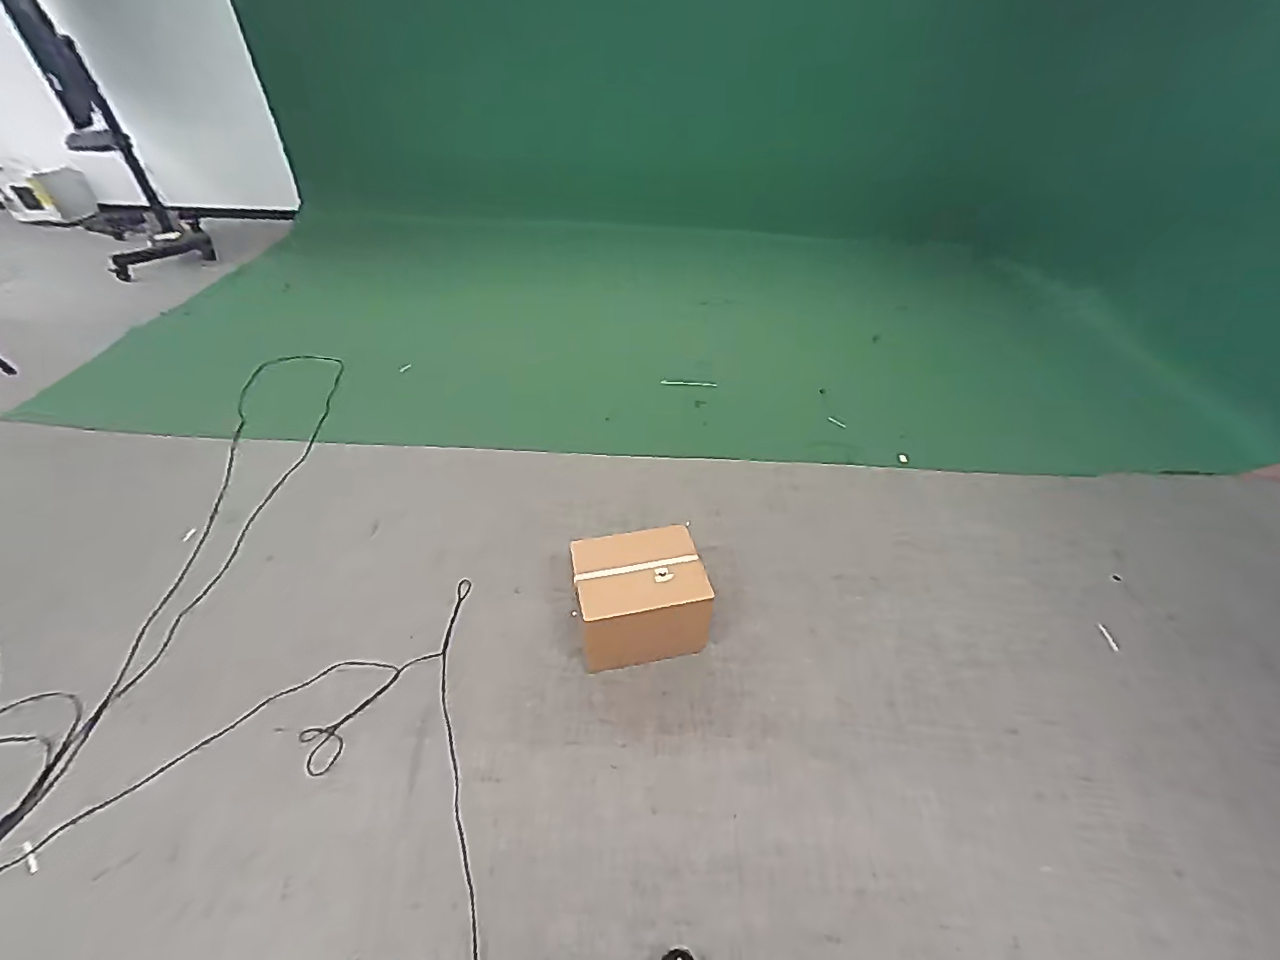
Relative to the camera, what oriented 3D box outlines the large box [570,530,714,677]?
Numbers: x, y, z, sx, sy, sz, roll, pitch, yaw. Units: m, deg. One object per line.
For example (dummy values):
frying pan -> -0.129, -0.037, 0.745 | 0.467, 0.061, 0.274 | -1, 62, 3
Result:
large box -> -0.007, 0.410, 1.805 | 0.408, 0.320, 0.320 | -7, 43, -11
